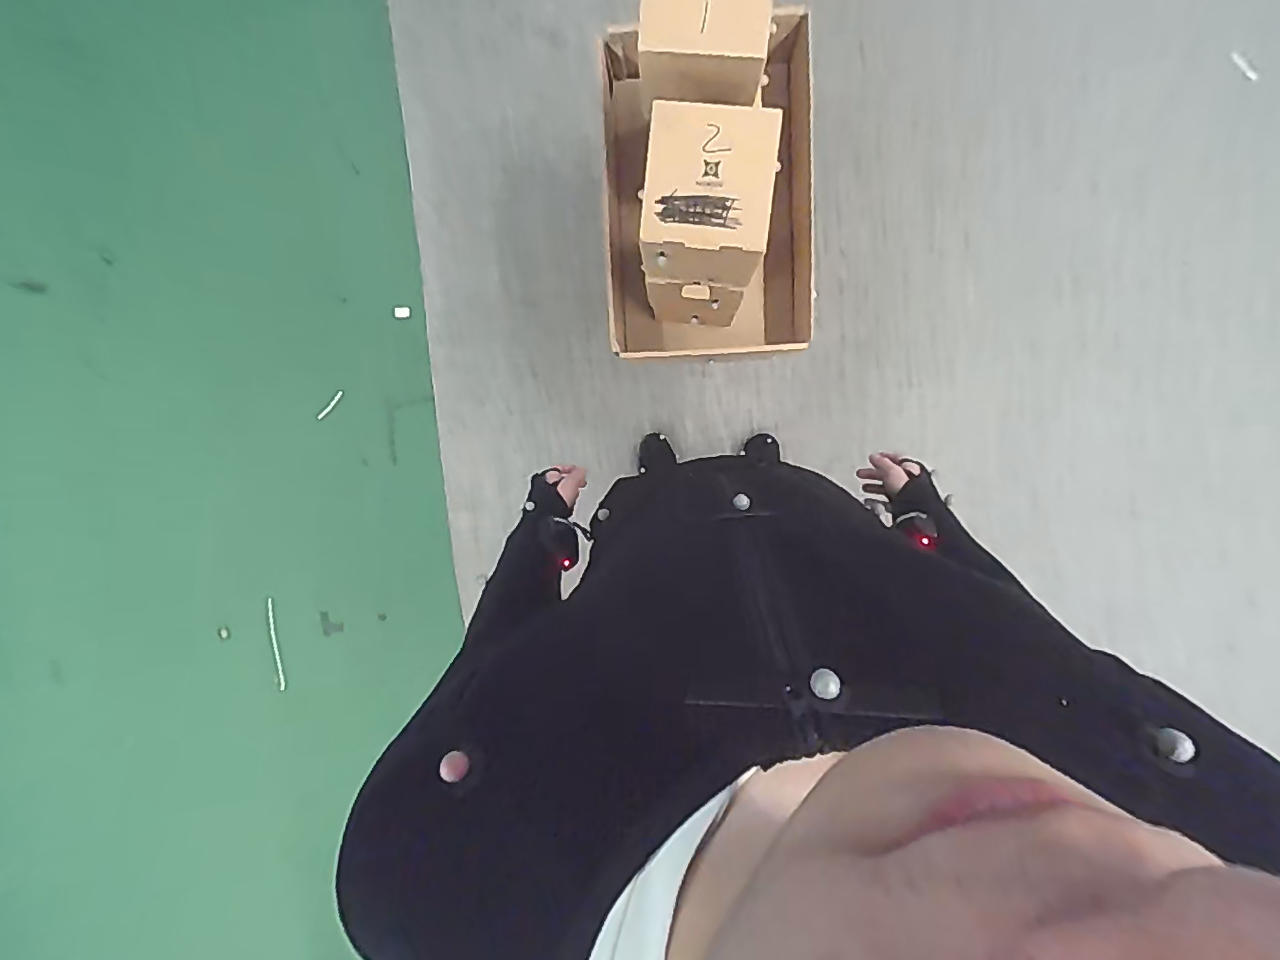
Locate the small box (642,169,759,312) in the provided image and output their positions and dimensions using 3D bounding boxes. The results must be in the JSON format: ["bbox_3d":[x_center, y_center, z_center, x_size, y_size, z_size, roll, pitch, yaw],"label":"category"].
[{"bbox_3d":[0.100,-0.397,0.927,0.168,0.176,0.179,7,94,3],"label":"small box"}]

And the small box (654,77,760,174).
[{"bbox_3d":[0.105,-0.641,0.908,0.168,0.176,0.179,-3,97,4],"label":"small box"}]

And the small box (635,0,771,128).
[{"bbox_3d":[0.087,-0.628,0.745,0.168,0.176,0.179,7,98,3],"label":"small box"}]
